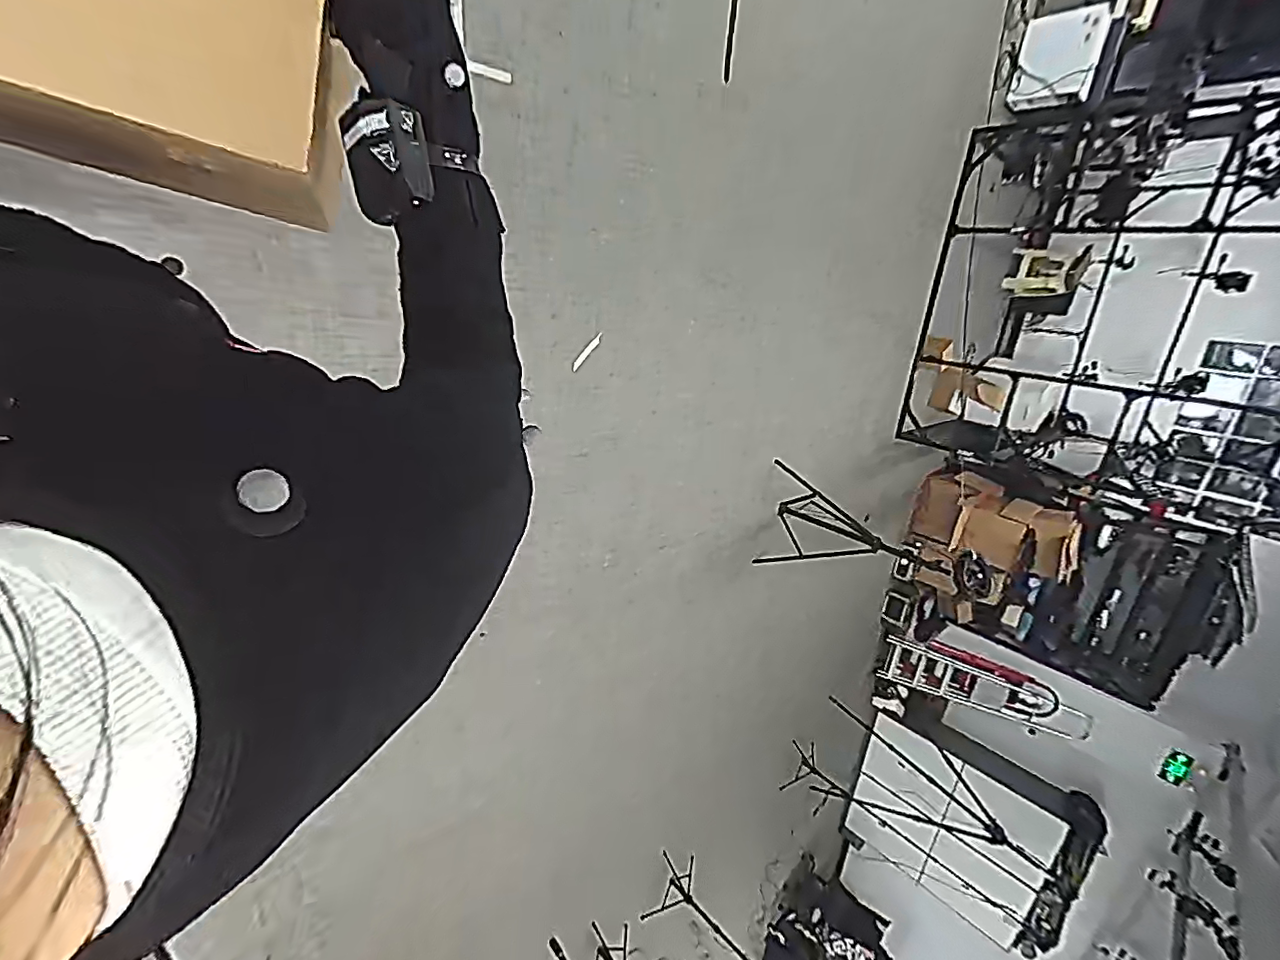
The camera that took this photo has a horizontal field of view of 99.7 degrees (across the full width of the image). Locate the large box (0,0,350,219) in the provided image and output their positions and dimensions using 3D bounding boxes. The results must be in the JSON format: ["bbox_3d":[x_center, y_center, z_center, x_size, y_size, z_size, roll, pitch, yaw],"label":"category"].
[{"bbox_3d":[-0.429,-0.411,0.360,0.408,0.320,0.320,5,104,-28],"label":"large box"}]
